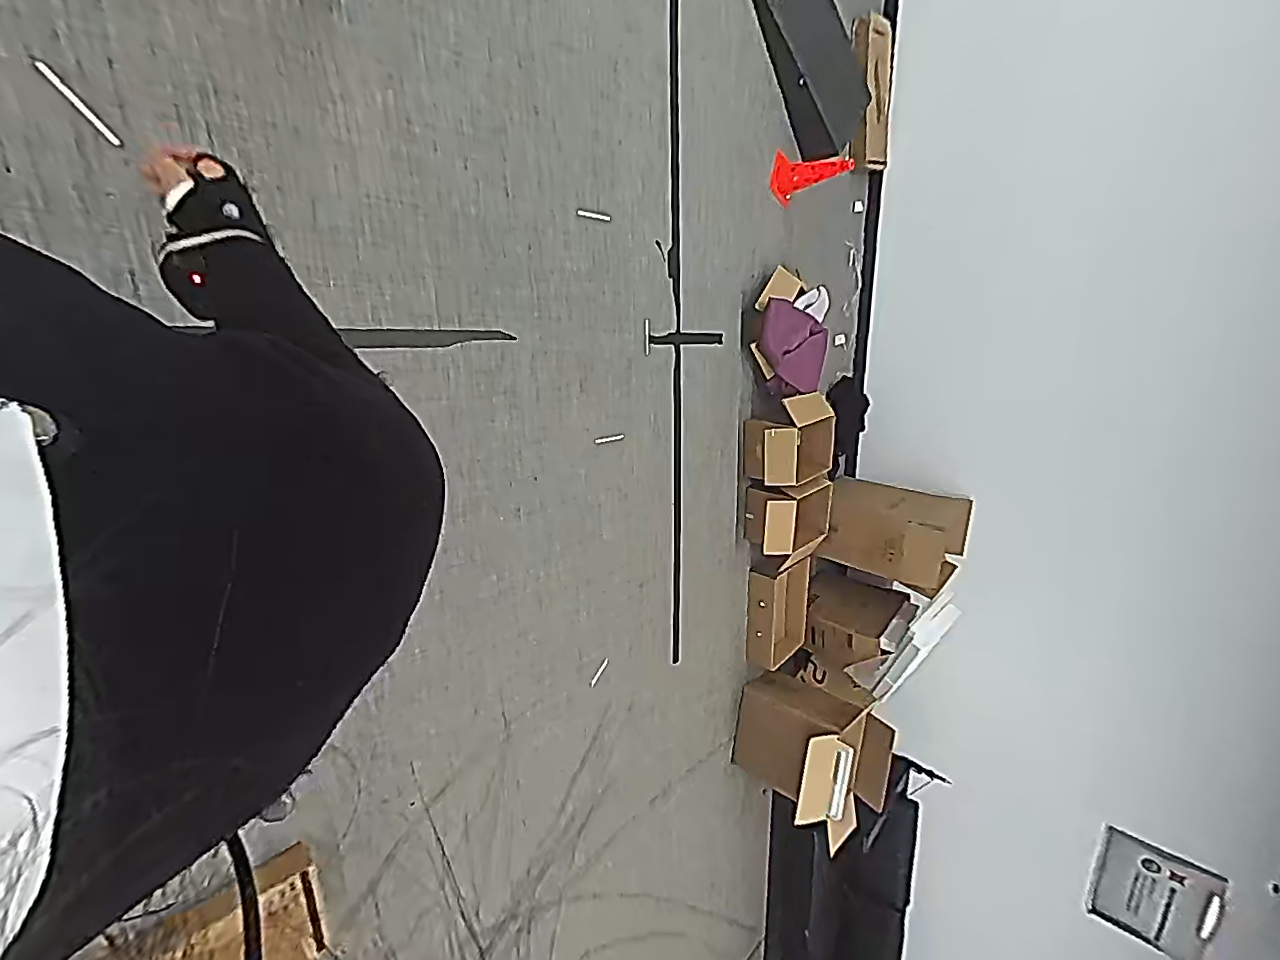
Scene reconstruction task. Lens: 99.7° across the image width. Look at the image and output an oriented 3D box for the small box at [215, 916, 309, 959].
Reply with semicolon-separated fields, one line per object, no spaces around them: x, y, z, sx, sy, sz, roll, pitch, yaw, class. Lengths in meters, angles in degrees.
-0.924;1.234;1.331;0.168;0.176;0.179;-14;110;-44;small box
